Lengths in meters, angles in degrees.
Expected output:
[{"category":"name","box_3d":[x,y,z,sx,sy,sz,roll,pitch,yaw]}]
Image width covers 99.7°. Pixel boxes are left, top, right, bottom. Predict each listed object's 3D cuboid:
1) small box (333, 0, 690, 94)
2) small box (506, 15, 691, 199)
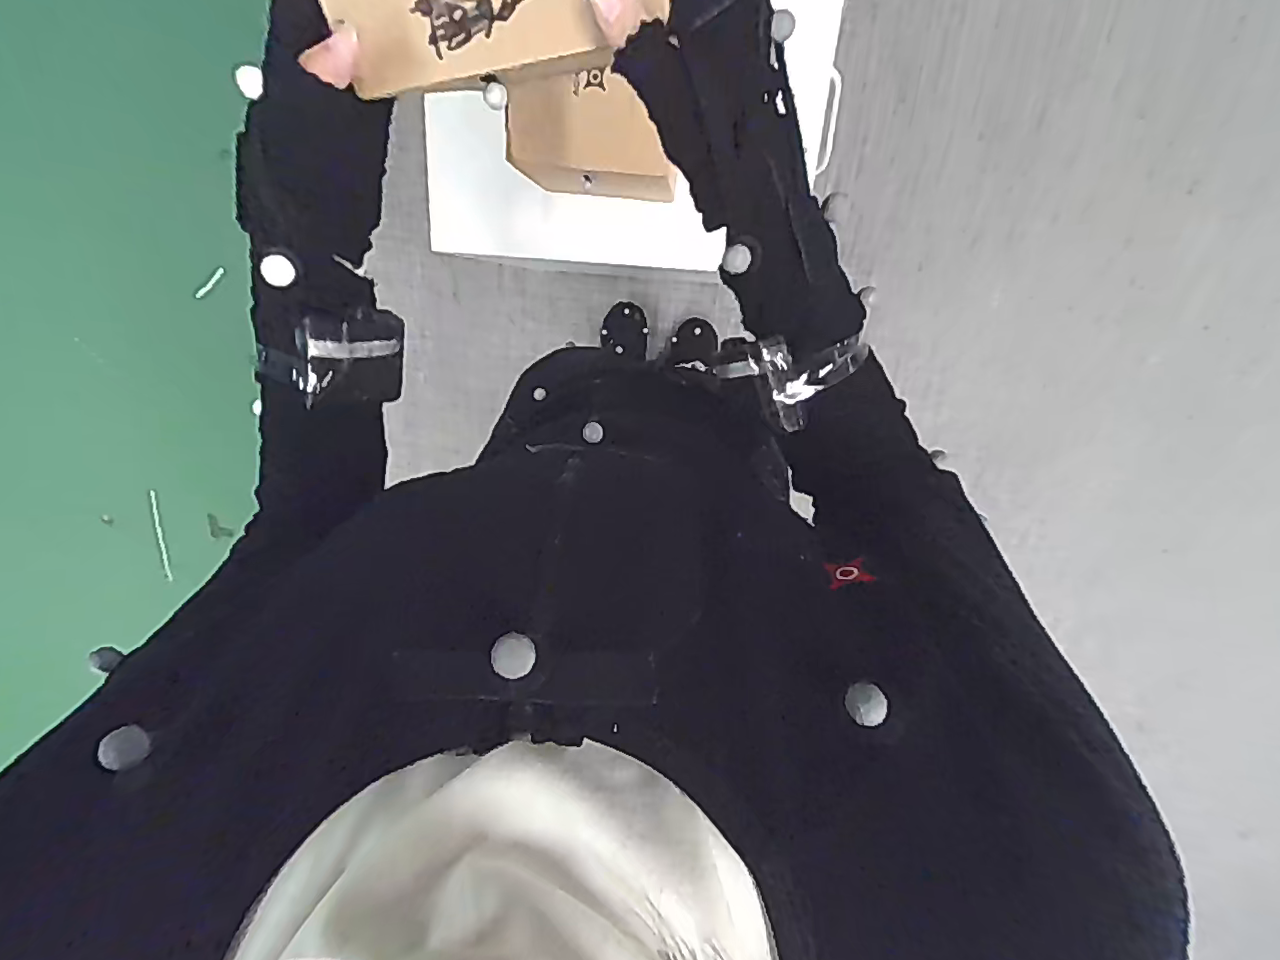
[{"category":"small box","box_3d":[-0.068,-0.321,0.277,0.168,0.176,0.179,-7,126,11]},{"category":"small box","box_3d":[-0.039,-0.429,0.615,0.179,0.176,0.168,7,110,4]}]
